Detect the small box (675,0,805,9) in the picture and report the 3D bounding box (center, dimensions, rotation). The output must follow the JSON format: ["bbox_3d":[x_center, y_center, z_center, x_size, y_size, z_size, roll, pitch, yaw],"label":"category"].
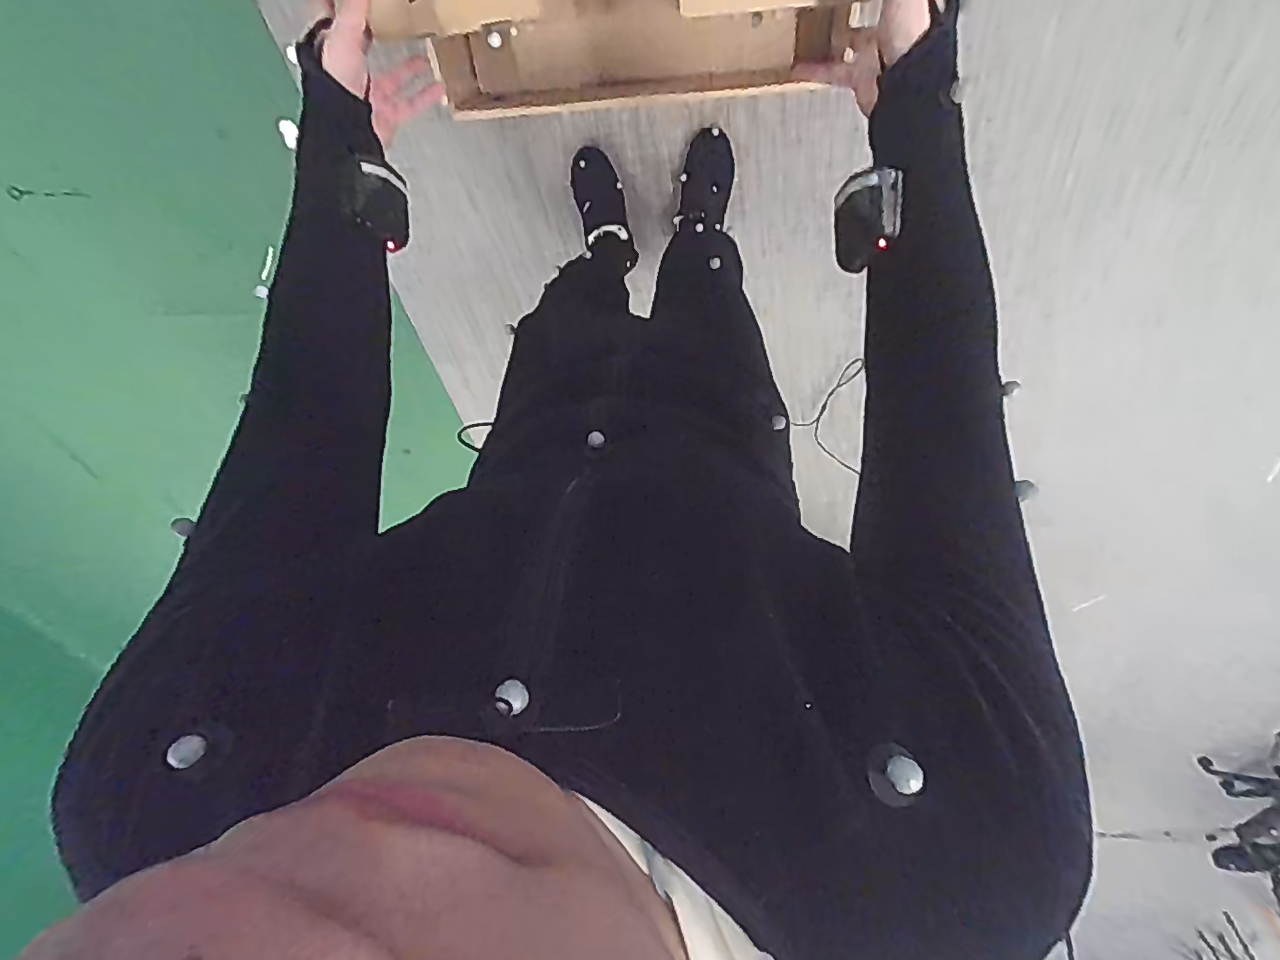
[{"bbox_3d":[0.122,-0.638,0.593,0.168,0.176,0.179,1,130,6],"label":"small box"}]

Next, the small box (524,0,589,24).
[{"bbox_3d":[-0.159,-0.645,0.628,0.168,0.176,0.179,1,131,6],"label":"small box"}]

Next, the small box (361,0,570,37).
[{"bbox_3d":[-0.173,-0.537,0.505,0.168,0.176,0.179,-1,131,9],"label":"small box"}]
